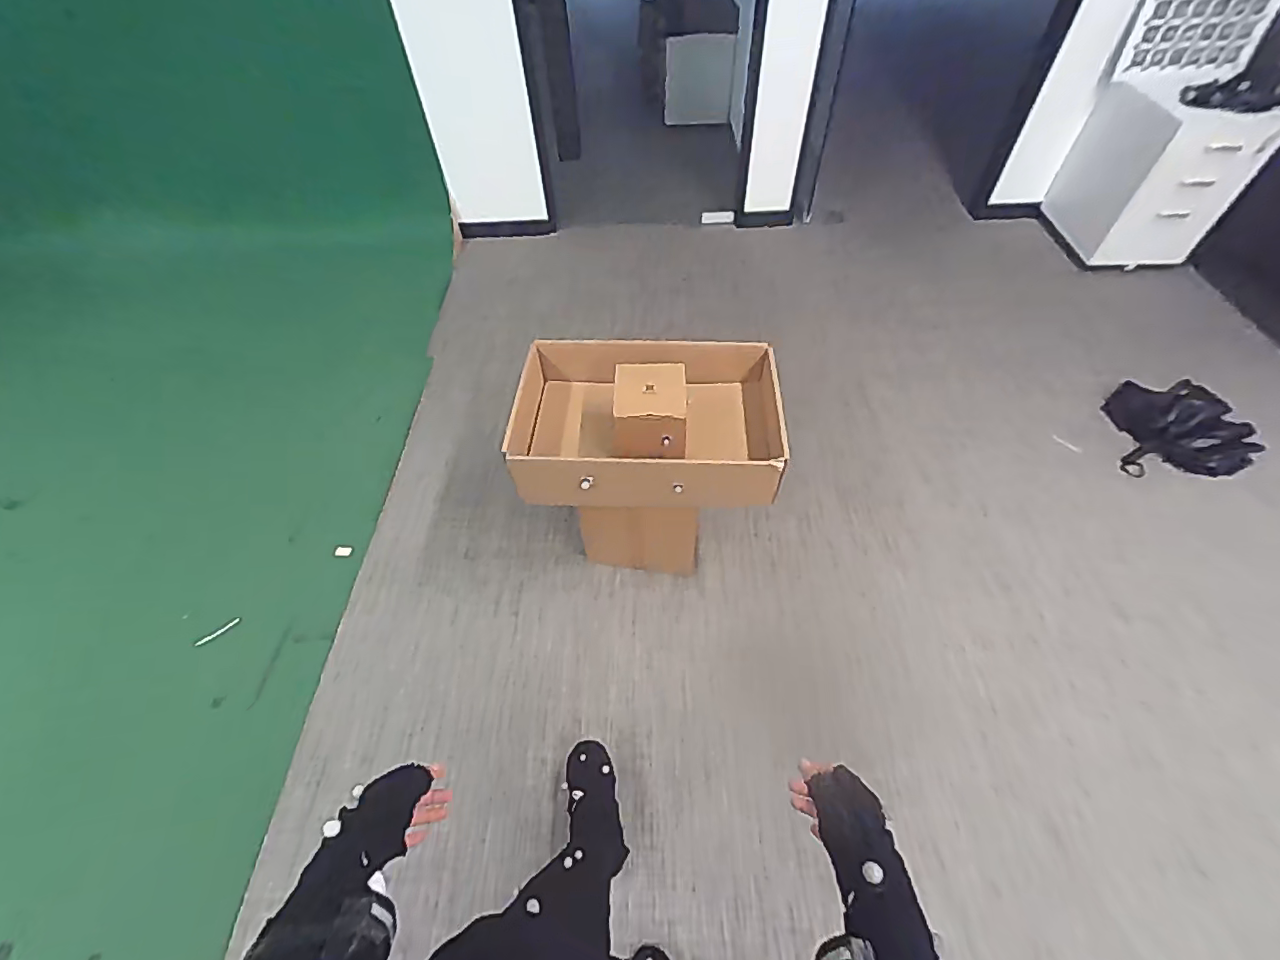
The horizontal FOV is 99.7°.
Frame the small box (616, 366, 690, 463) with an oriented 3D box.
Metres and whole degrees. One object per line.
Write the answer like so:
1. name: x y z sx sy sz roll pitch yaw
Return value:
1. small box: 0.033 -0.153 1.303 0.168 0.176 0.179 0 51 1
